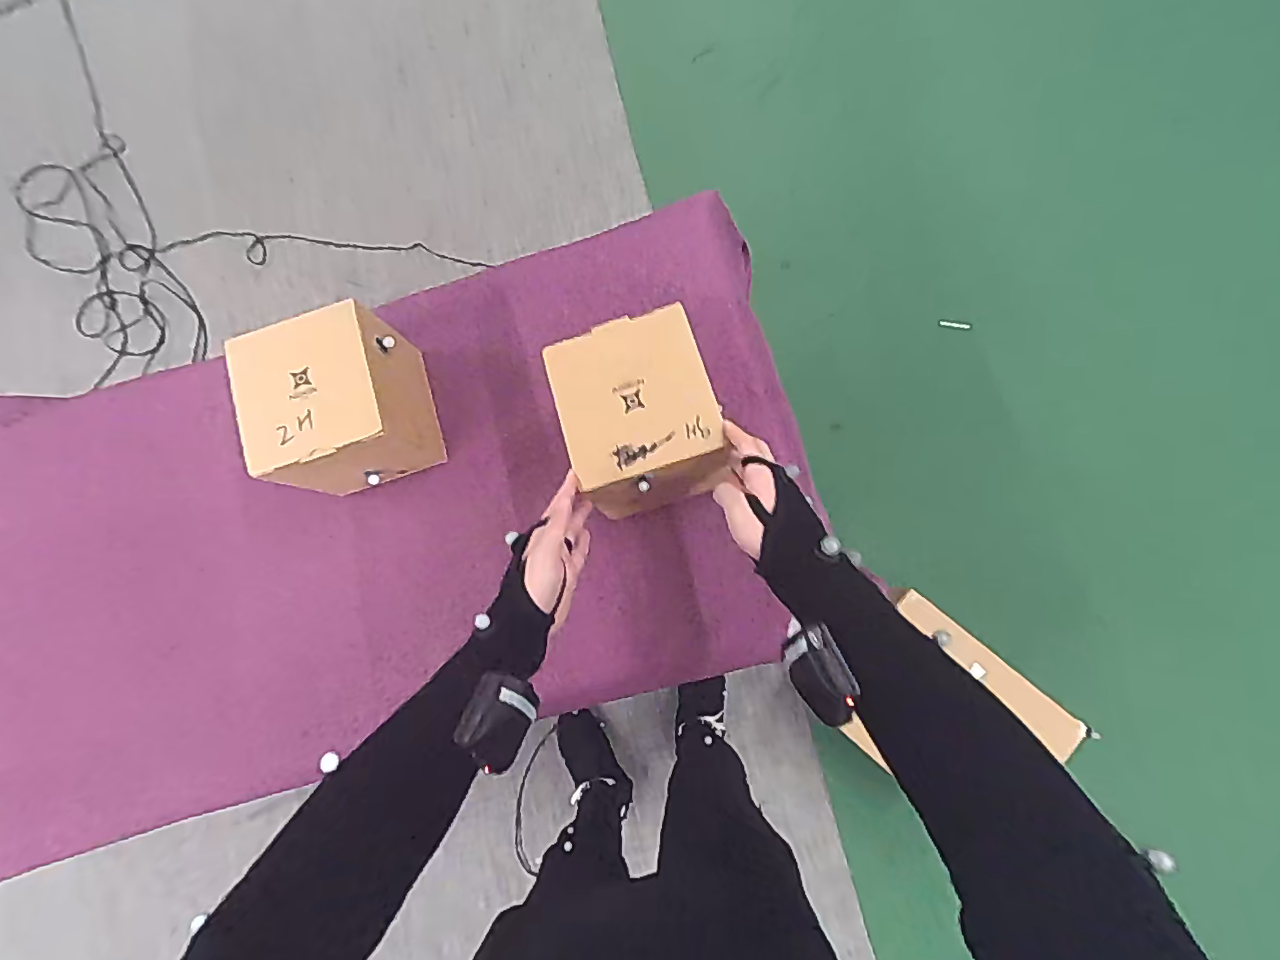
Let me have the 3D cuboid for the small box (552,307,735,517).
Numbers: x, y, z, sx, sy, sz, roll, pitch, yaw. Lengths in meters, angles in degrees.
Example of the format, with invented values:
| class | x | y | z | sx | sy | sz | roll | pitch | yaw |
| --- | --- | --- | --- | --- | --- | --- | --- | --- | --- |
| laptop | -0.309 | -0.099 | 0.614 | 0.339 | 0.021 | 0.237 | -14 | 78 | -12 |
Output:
| class | x | y | z | sx | sy | sz | roll | pitch | yaw |
| --- | --- | --- | --- | --- | --- | --- | --- | --- | --- |
| small box | 0.009 | -0.070 | 0.654 | 0.168 | 0.176 | 0.179 | -17 | 74 | 4 |

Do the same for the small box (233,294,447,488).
| class | x | y | z | sx | sy | sz | roll | pitch | yaw |
| --- | --- | --- | --- | --- | --- | --- | --- | --- | --- |
| small box | -0.376 | -0.103 | 0.703 | 0.168 | 0.176 | 0.179 | -17 | 80 | 2 |
